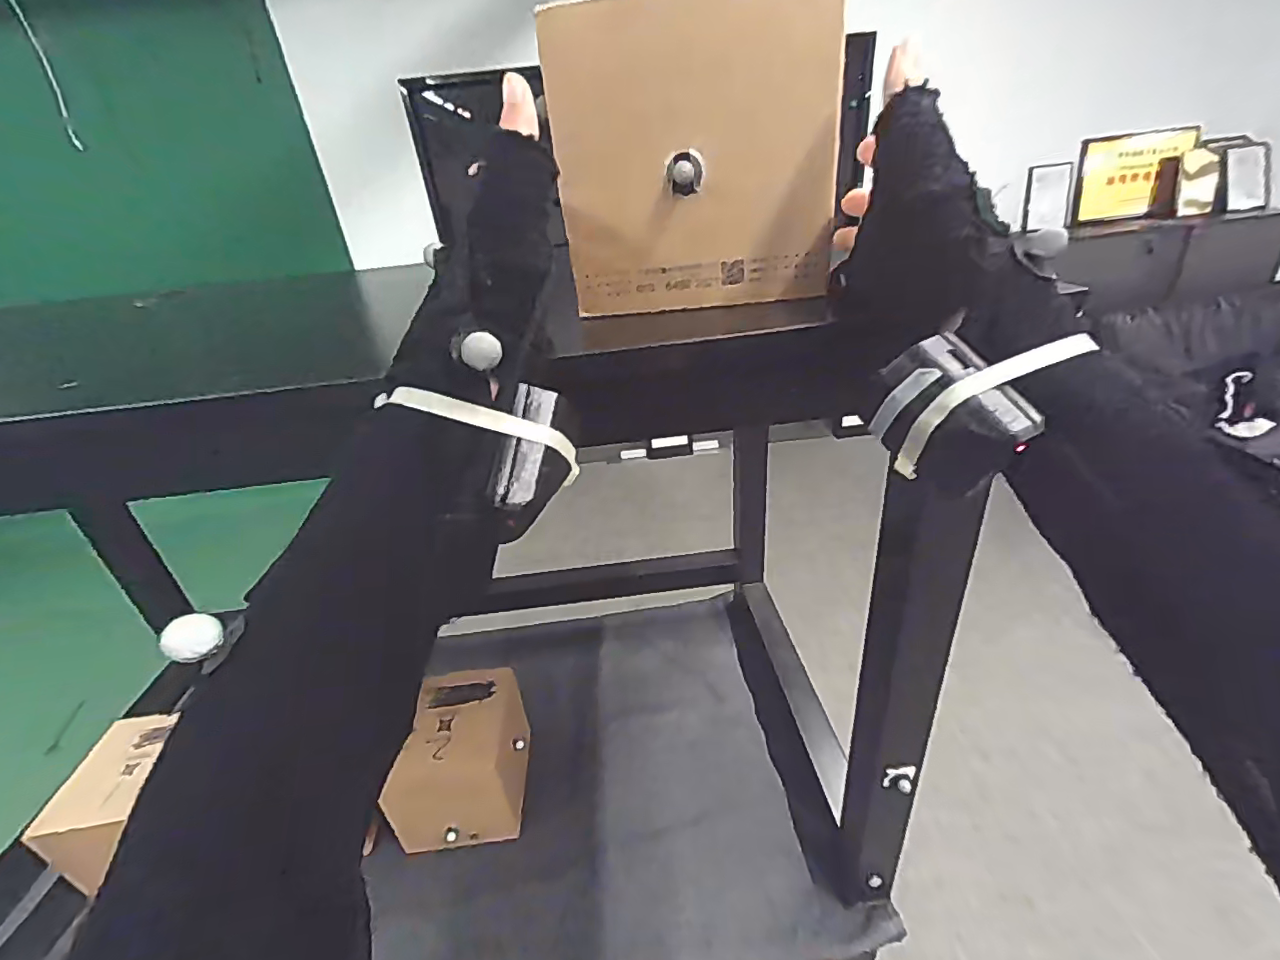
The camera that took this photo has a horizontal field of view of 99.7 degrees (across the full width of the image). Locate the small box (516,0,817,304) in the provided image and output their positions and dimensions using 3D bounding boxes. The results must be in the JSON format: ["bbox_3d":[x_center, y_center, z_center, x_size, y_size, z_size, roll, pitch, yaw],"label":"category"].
[{"bbox_3d":[0.030,-0.227,0.390,0.168,0.176,0.179,-2,29,8],"label":"small box"}]

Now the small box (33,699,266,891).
[{"bbox_3d":[-0.703,0.465,0.808,0.168,0.176,0.179,-8,29,-3],"label":"small box"}]
